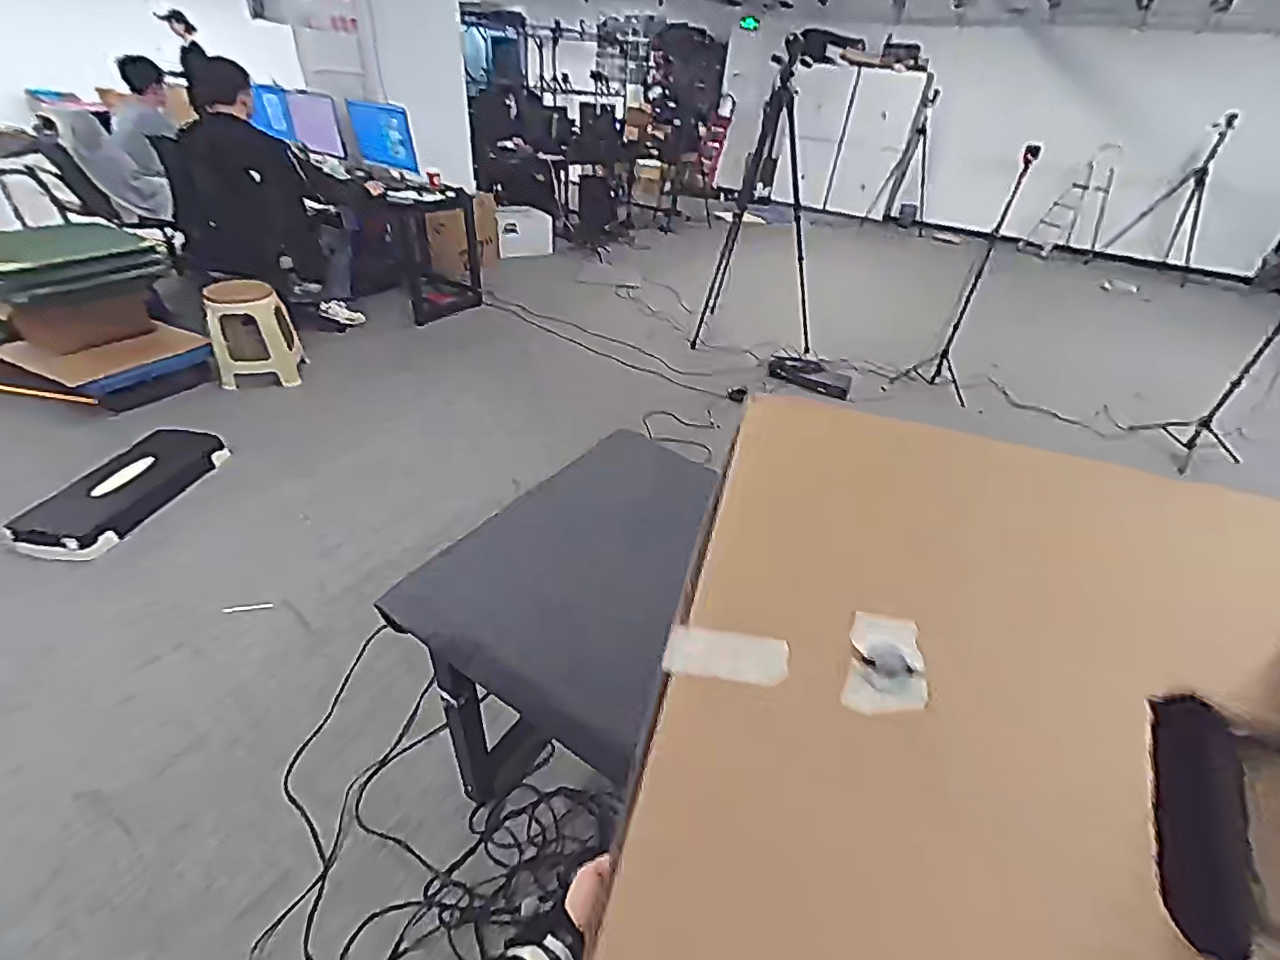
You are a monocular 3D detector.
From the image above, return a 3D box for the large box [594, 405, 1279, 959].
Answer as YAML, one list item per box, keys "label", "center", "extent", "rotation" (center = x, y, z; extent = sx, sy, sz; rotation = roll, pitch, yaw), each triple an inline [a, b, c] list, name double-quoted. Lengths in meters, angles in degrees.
- label: "large box"
  center: [0.175, 0.193, 0.419]
  extent: [0.320, 0.408, 0.320]
  rotation: [14, 67, 10]
